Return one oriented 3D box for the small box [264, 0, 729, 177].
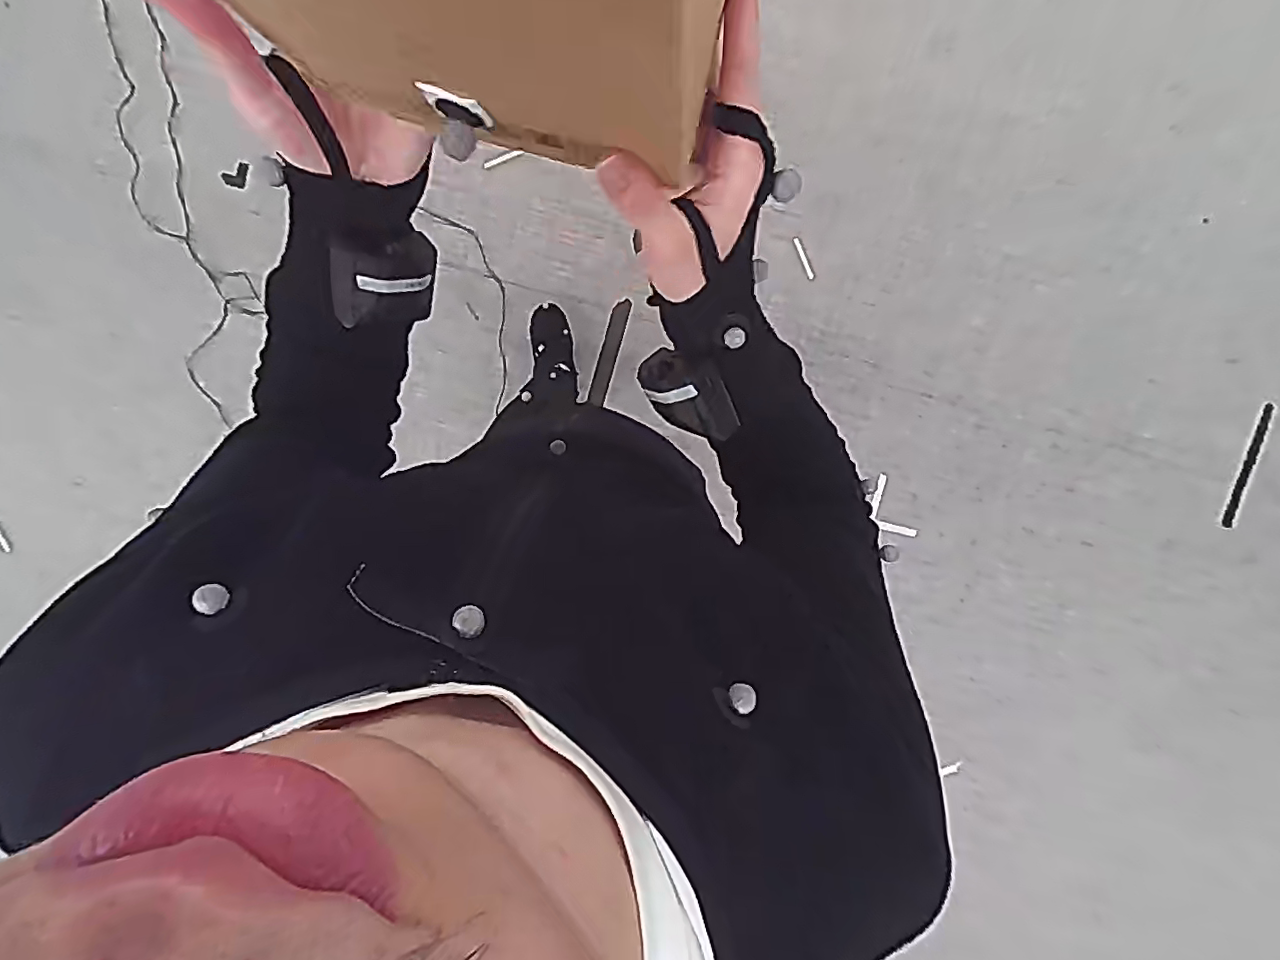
[{"bbox_3d":[-0.045,-0.232,0.174,0.168,0.176,0.179,13,103,3],"label":"small box"}]
